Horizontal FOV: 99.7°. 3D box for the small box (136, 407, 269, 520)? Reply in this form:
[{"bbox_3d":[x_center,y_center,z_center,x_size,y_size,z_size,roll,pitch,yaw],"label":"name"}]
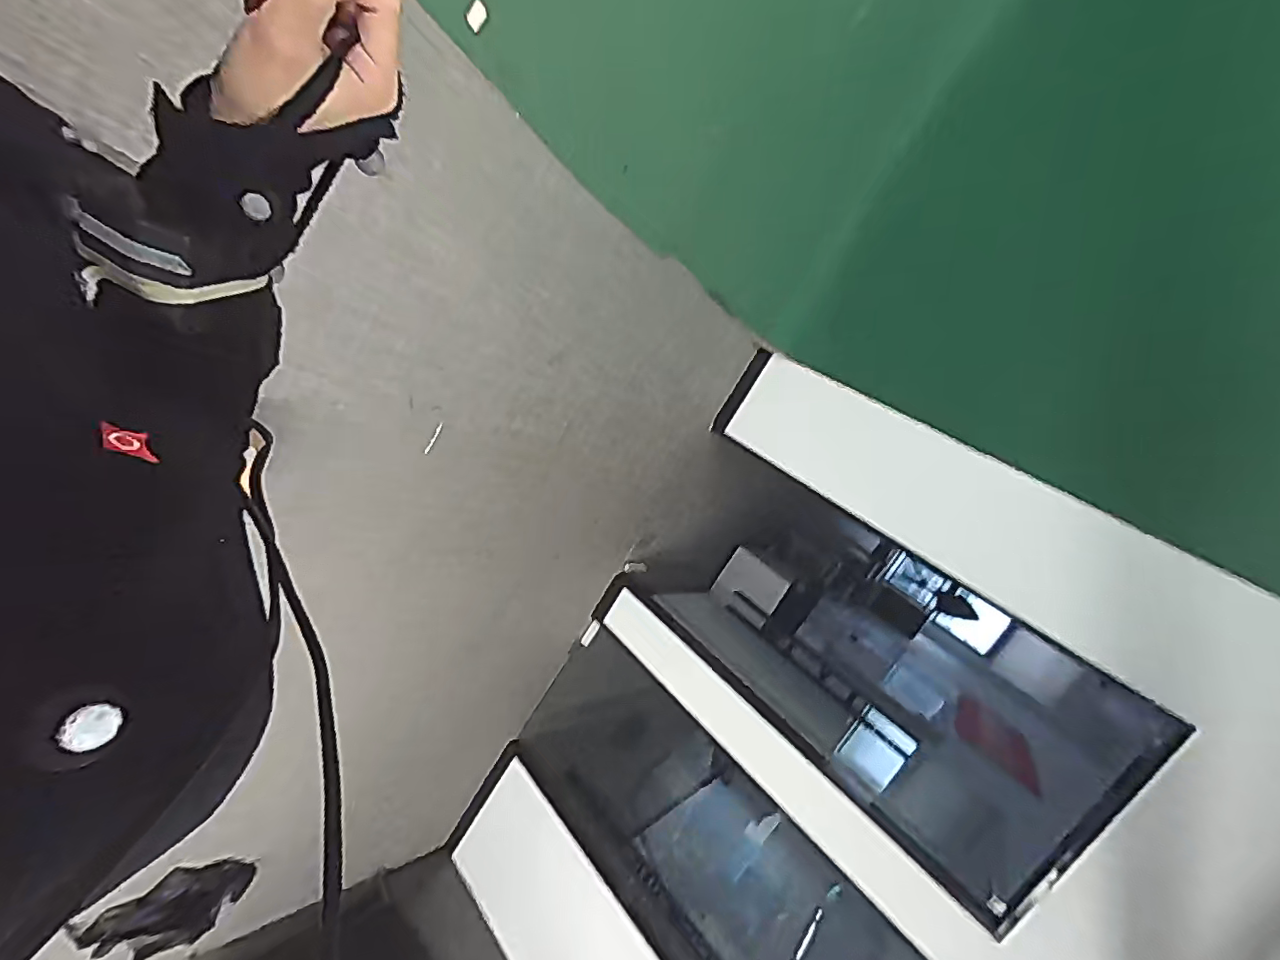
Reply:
[{"bbox_3d":[-0.955,-0.036,1.175,0.168,0.176,0.179,14,111,-56],"label":"small box"}]

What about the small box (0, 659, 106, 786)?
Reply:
[{"bbox_3d":[-1.375,0.542,1.225,0.168,0.176,0.179,-32,143,-31],"label":"small box"}]
